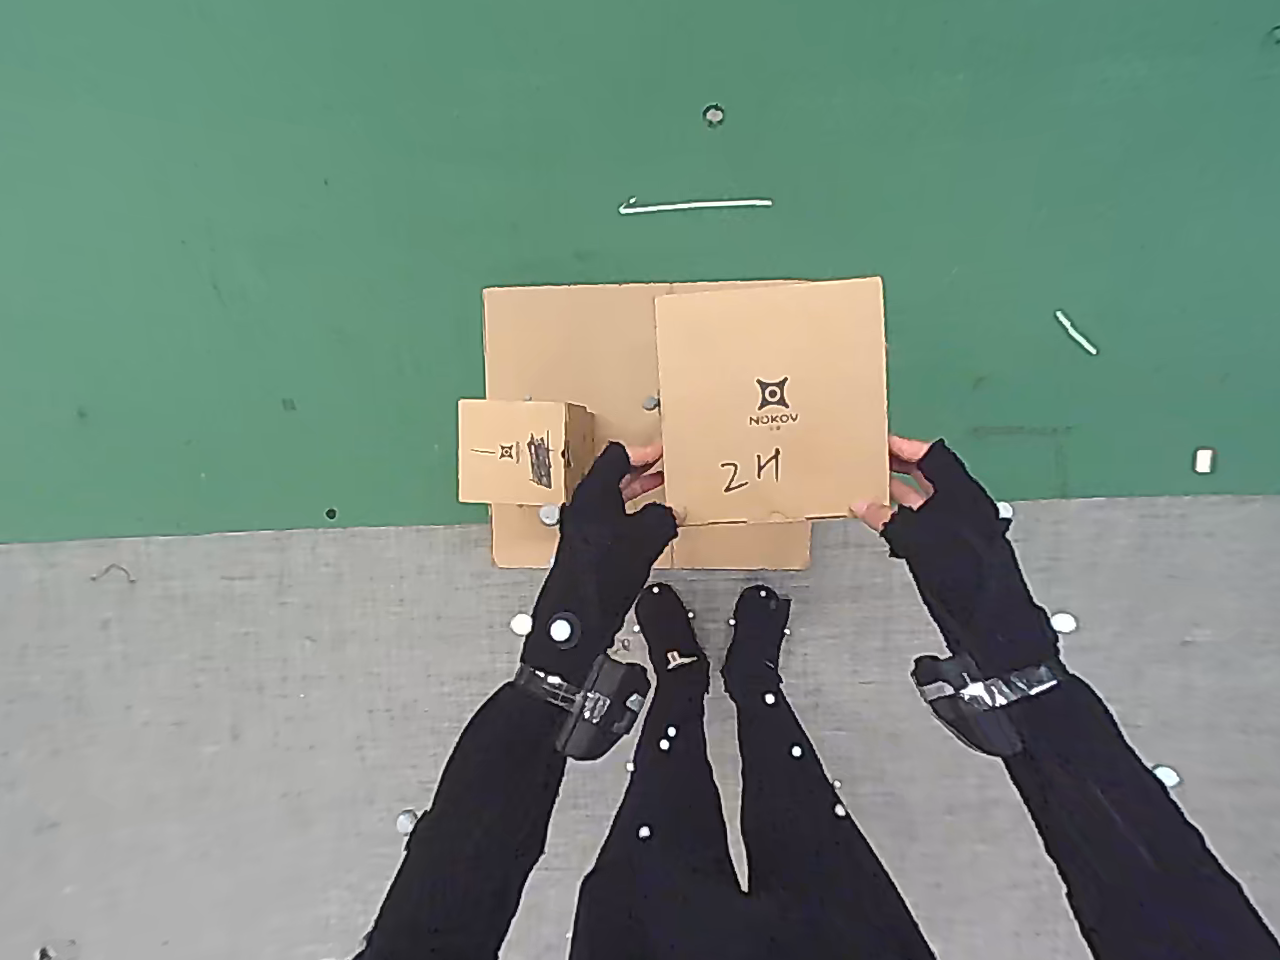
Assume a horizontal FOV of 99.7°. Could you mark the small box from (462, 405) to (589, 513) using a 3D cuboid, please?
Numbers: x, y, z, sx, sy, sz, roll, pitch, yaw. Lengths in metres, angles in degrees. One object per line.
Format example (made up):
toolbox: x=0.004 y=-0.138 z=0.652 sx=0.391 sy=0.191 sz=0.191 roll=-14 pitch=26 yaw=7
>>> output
small box: x=-0.187 y=-0.041 z=0.926 sx=0.179 sy=0.176 sz=0.168 roll=2 pitch=95 yaw=6

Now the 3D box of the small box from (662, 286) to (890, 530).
small box: x=0.104 y=-0.055 z=0.479 sx=0.168 sy=0.176 sz=0.179 roll=-3 pitch=93 yaw=4
